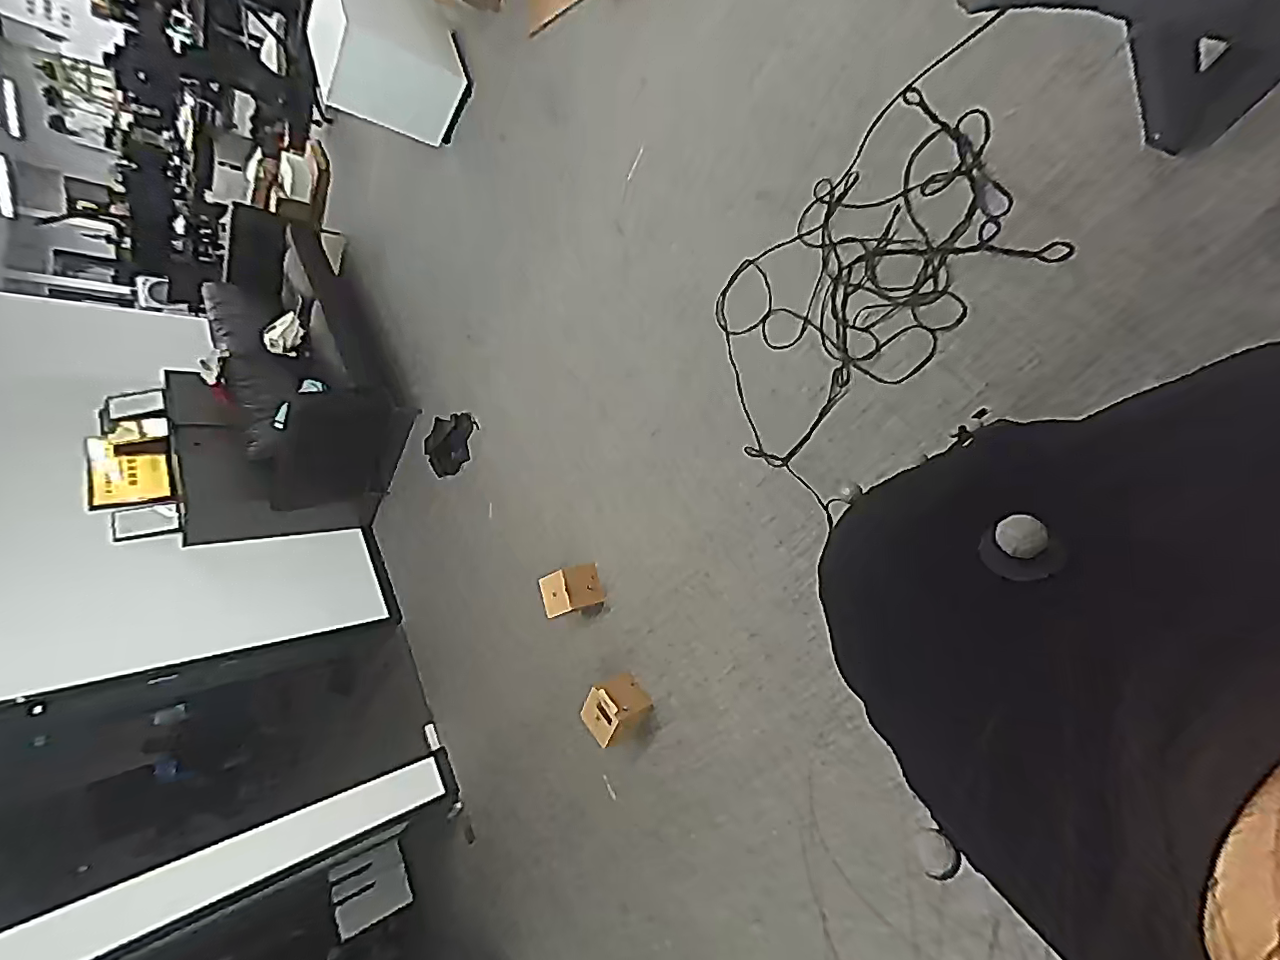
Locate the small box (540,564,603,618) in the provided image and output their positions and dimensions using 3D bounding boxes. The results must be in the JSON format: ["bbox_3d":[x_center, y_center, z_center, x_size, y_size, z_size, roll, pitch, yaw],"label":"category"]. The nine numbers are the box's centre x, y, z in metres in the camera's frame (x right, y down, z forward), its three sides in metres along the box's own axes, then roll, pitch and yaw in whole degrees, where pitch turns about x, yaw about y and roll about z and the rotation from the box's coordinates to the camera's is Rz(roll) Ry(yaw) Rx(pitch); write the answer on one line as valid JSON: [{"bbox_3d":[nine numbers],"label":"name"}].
[{"bbox_3d":[-0.279,0.451,2.201,0.179,0.176,0.168,-30,70,42],"label":"small box"}]
